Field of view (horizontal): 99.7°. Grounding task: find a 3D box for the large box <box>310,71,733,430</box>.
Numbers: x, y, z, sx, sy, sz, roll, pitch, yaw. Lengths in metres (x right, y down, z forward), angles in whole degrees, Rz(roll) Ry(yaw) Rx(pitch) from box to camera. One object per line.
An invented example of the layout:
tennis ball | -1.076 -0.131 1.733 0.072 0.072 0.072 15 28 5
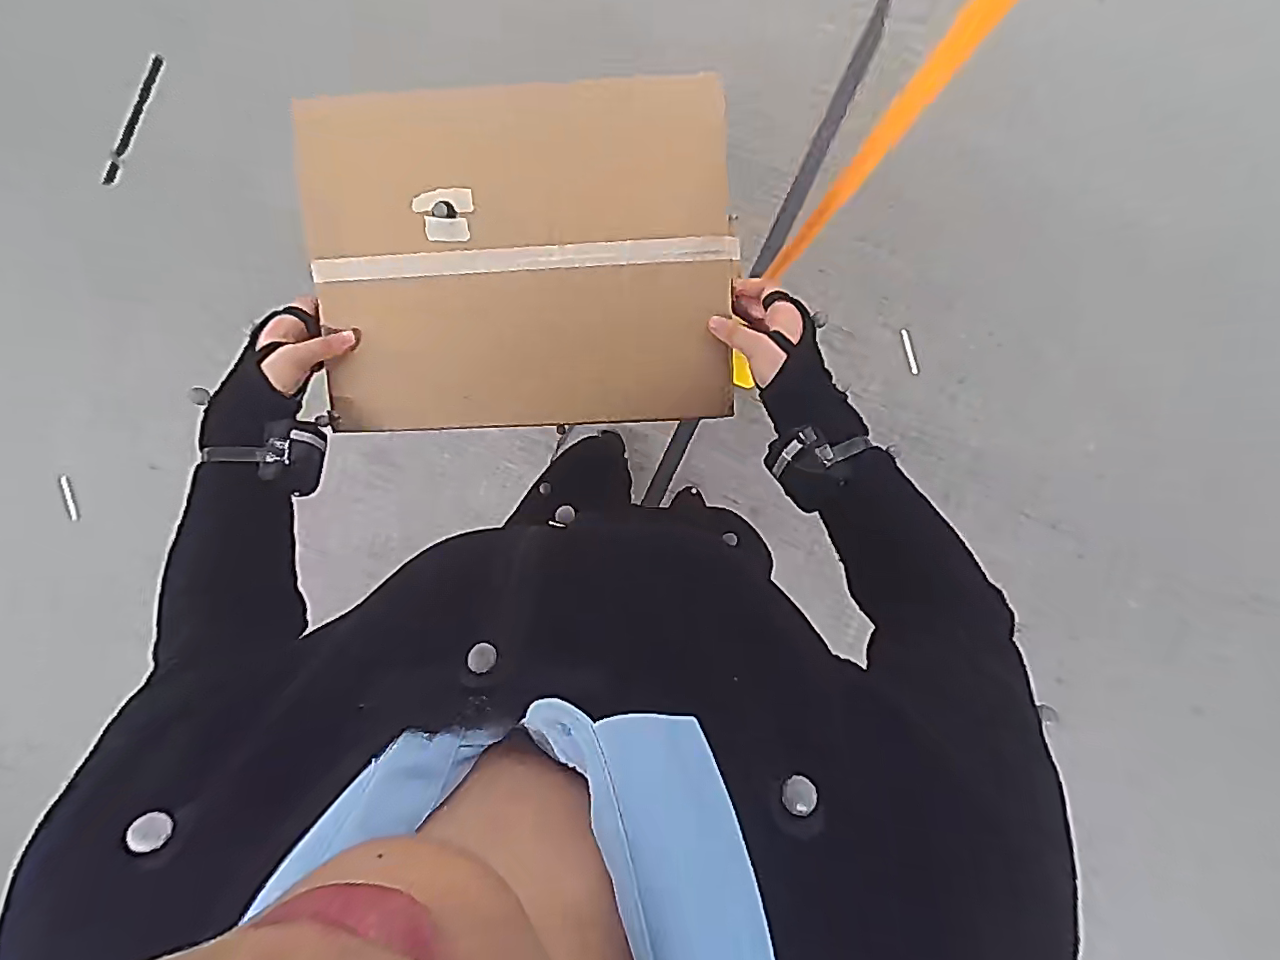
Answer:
large box | -0.106 -0.235 0.678 0.408 0.320 0.320 -3 96 4
